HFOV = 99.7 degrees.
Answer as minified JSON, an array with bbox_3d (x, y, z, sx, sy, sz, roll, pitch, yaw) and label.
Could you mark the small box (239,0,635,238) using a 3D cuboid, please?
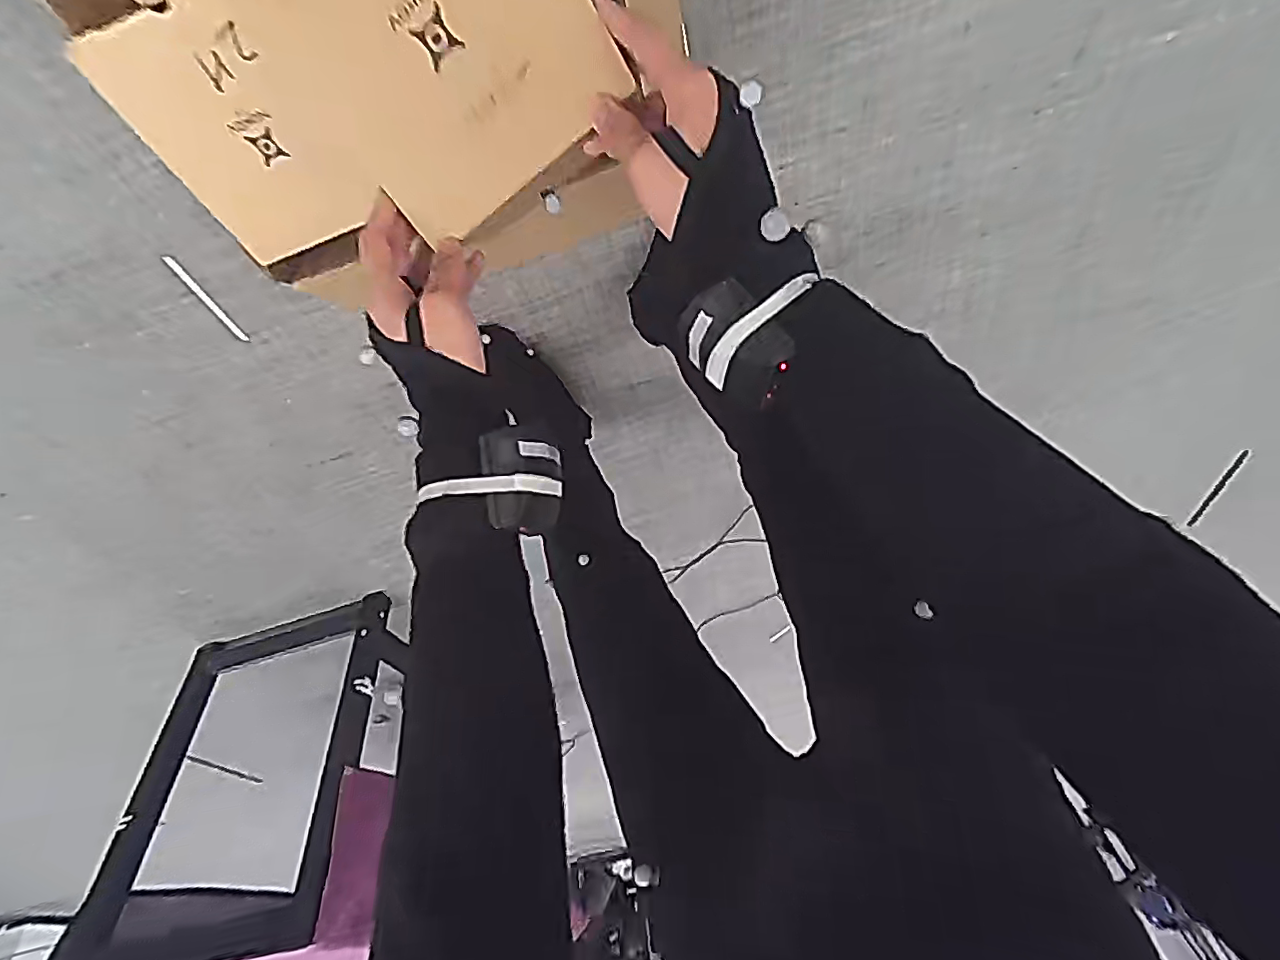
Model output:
[{"bbox_3d":[-0.117,-0.295,0.367,0.168,0.176,0.179,-30,115,17],"label":"small box"}]
